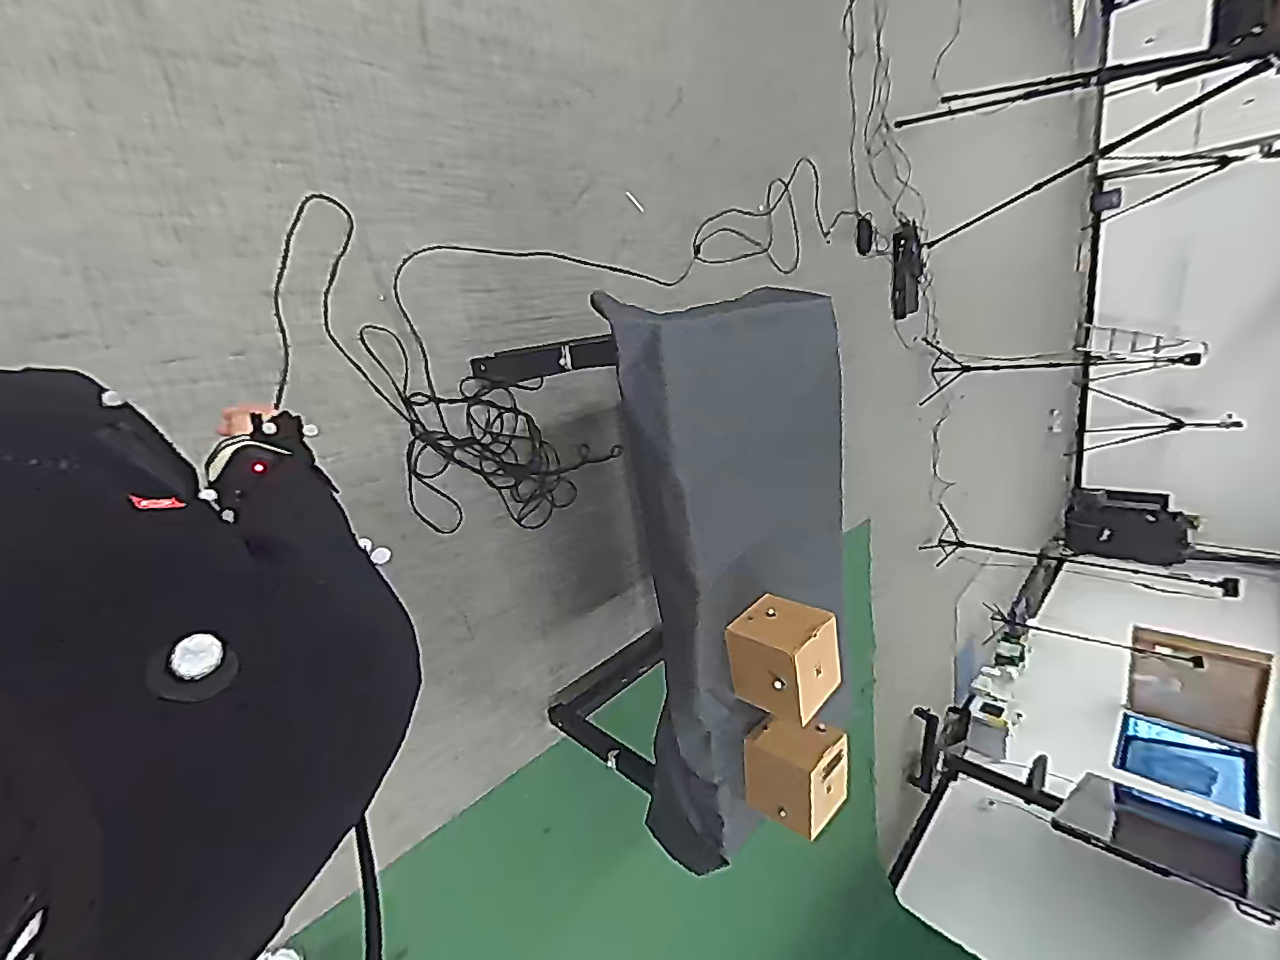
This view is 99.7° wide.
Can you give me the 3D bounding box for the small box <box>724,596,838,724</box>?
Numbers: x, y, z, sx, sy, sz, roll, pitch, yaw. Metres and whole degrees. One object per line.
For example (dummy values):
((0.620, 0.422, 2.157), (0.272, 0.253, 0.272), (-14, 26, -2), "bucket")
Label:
((0.301, 0.374, 1.156), (0.168, 0.176, 0.179), (-25, 112, -40), "small box")
